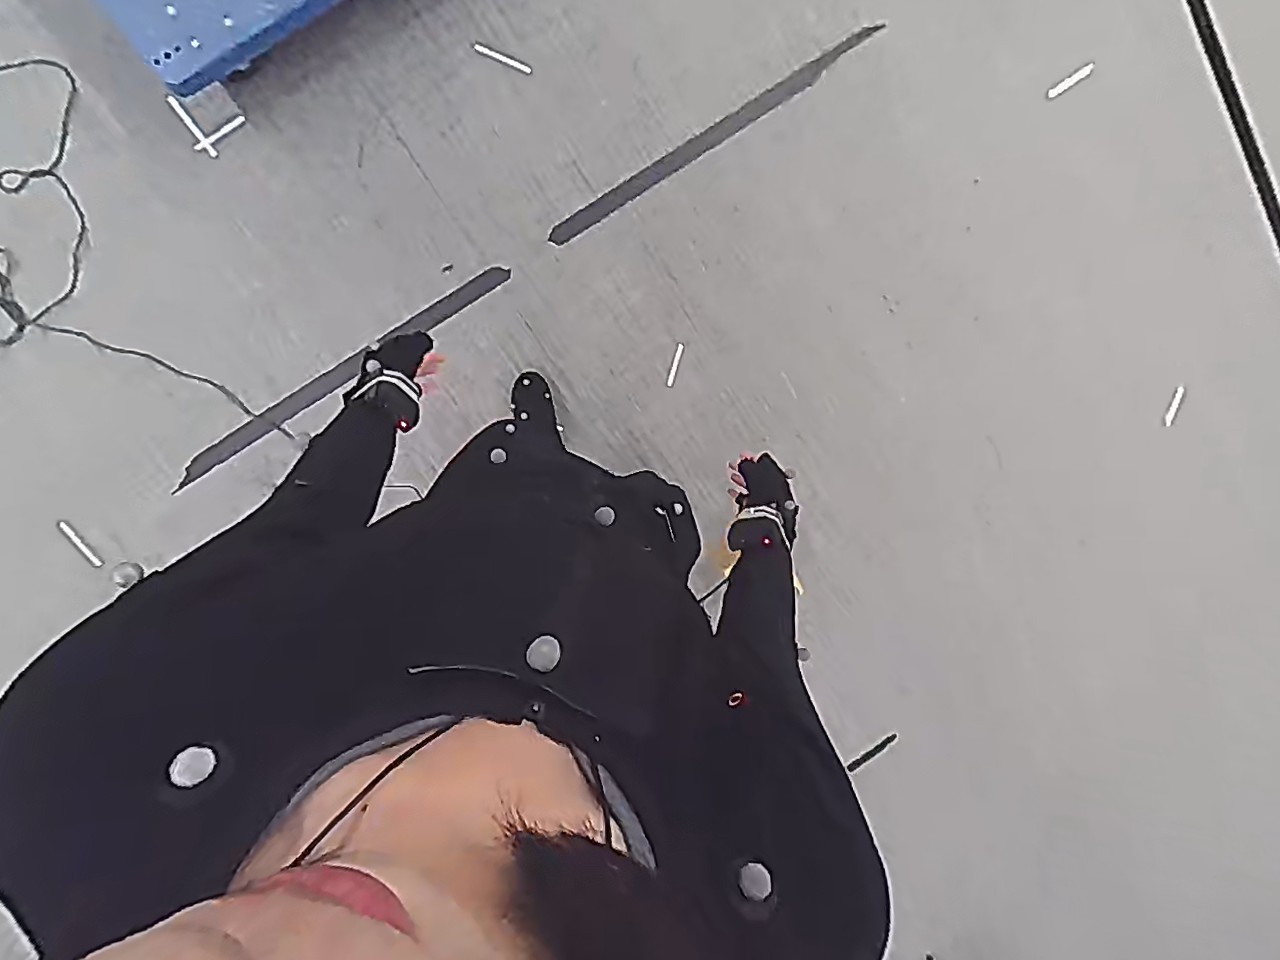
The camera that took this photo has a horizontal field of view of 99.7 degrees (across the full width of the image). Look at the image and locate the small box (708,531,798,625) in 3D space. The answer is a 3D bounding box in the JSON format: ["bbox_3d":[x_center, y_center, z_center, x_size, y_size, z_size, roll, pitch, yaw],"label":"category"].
[{"bbox_3d":[0.314,0.270,1.530,0.168,0.176,0.179,-30,100,-2],"label":"small box"}]
